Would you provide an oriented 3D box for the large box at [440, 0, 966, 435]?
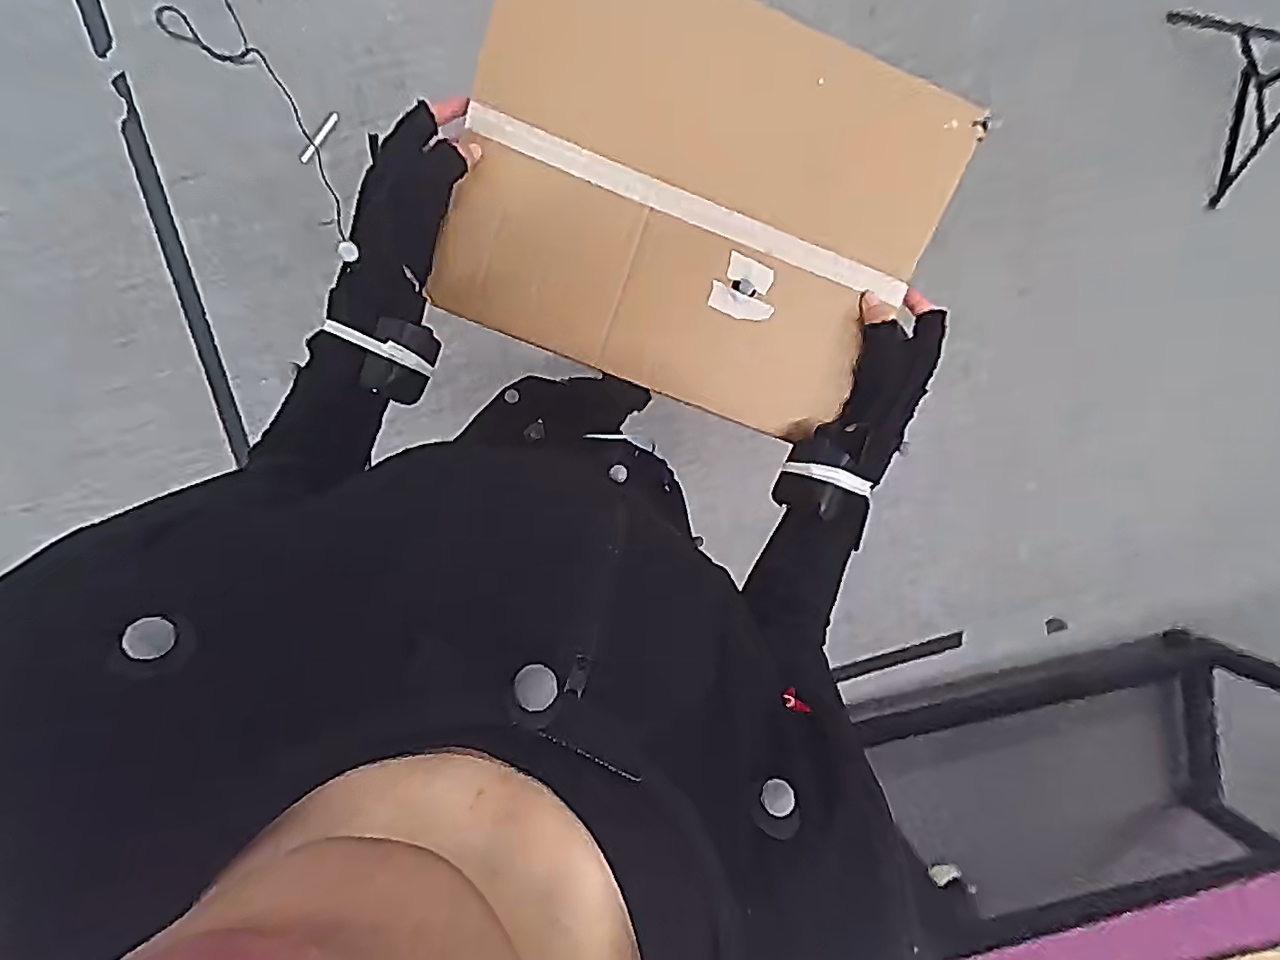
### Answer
[{"bbox_3d":[0.045,-0.284,0.629,0.408,0.320,0.320,20,105,-6],"label":"large box"}]
